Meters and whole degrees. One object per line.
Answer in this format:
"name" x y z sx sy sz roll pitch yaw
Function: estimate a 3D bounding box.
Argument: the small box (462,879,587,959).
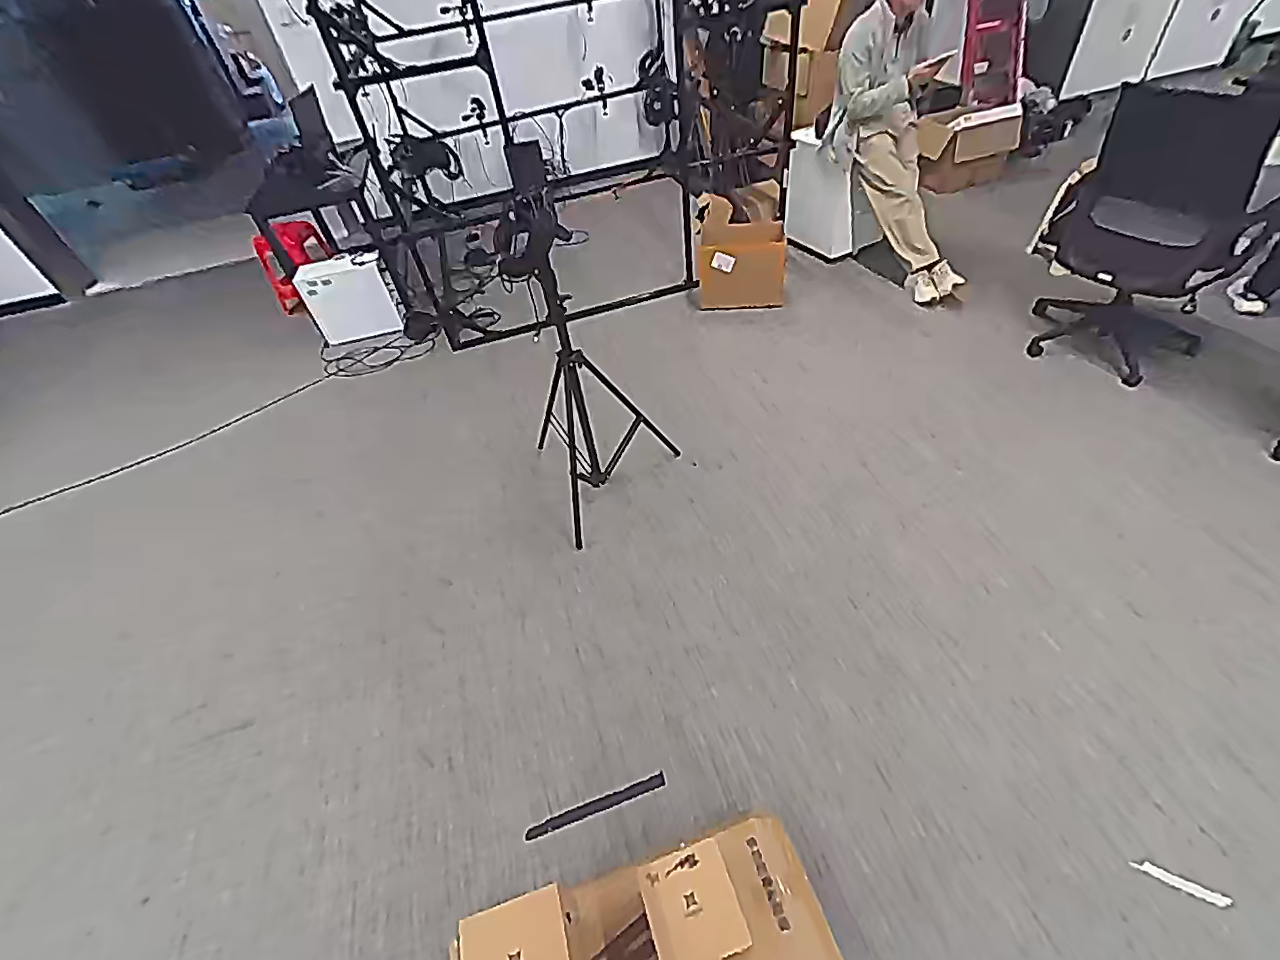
"small box" -0.181 0.800 0.885 0.168 0.176 0.179 -16 45 -8

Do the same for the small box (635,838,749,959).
"small box" 0.104 0.831 1.044 0.168 0.176 0.179 -18 46 -6
